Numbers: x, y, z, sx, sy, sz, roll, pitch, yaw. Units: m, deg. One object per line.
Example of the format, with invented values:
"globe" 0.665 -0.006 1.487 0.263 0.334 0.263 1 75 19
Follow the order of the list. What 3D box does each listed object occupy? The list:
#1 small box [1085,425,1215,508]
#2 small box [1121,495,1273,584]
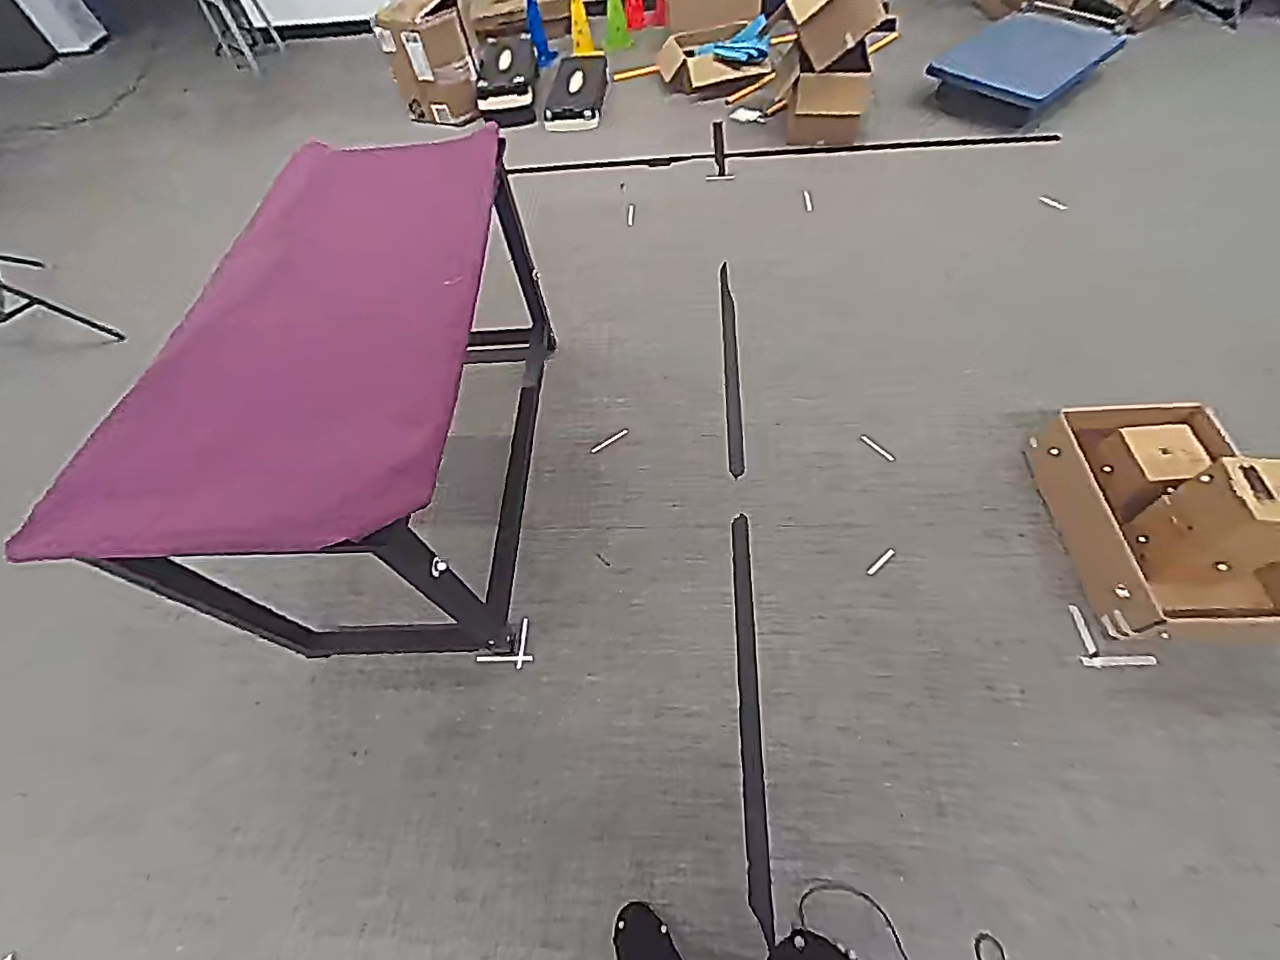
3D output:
"small box" 1.370 -0.032 1.474 0.179 0.176 0.168 -3 60 3
"small box" 1.387 0.153 1.362 0.179 0.176 0.168 2 56 7
